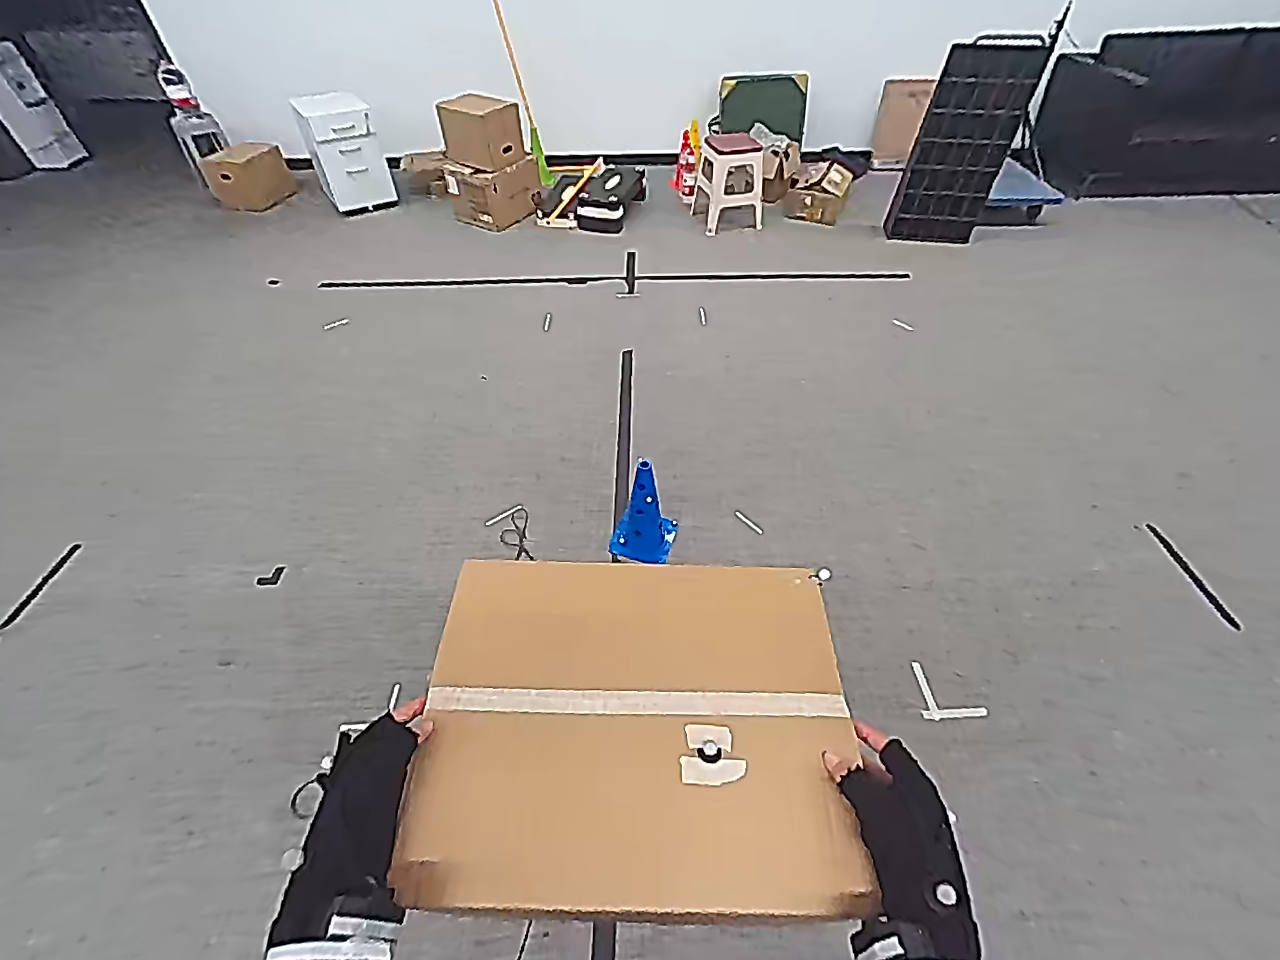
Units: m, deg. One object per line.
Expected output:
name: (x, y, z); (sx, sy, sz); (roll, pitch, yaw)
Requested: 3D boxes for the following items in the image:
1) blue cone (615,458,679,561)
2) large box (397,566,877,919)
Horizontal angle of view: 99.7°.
blue cone: (0.024, 0.079, 1.745); (0.193, 0.380, 0.192); (16, 49, 15)
large box: (-0.004, 0.319, 0.648); (0.408, 0.320, 0.320); (2, 49, 0)
